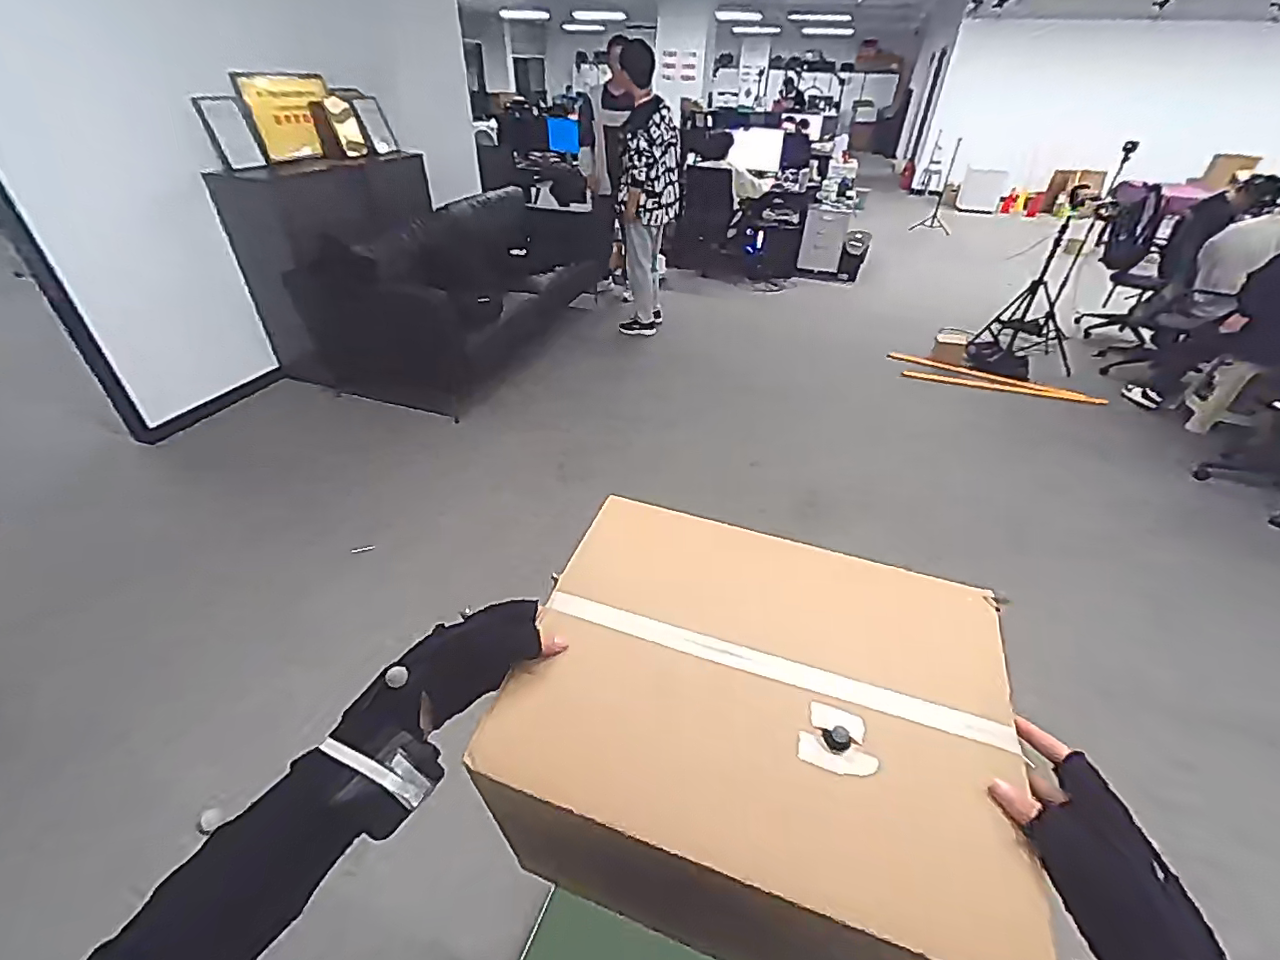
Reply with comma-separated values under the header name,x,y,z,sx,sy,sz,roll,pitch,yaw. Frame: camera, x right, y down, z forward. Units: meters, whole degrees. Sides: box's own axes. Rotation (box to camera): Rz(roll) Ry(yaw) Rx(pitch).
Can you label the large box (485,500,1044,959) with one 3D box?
name,x,y,z,sx,sy,sz,roll,pitch,yaw
large box,0.106,0.271,0.581,0.408,0.320,0.320,14,44,13
